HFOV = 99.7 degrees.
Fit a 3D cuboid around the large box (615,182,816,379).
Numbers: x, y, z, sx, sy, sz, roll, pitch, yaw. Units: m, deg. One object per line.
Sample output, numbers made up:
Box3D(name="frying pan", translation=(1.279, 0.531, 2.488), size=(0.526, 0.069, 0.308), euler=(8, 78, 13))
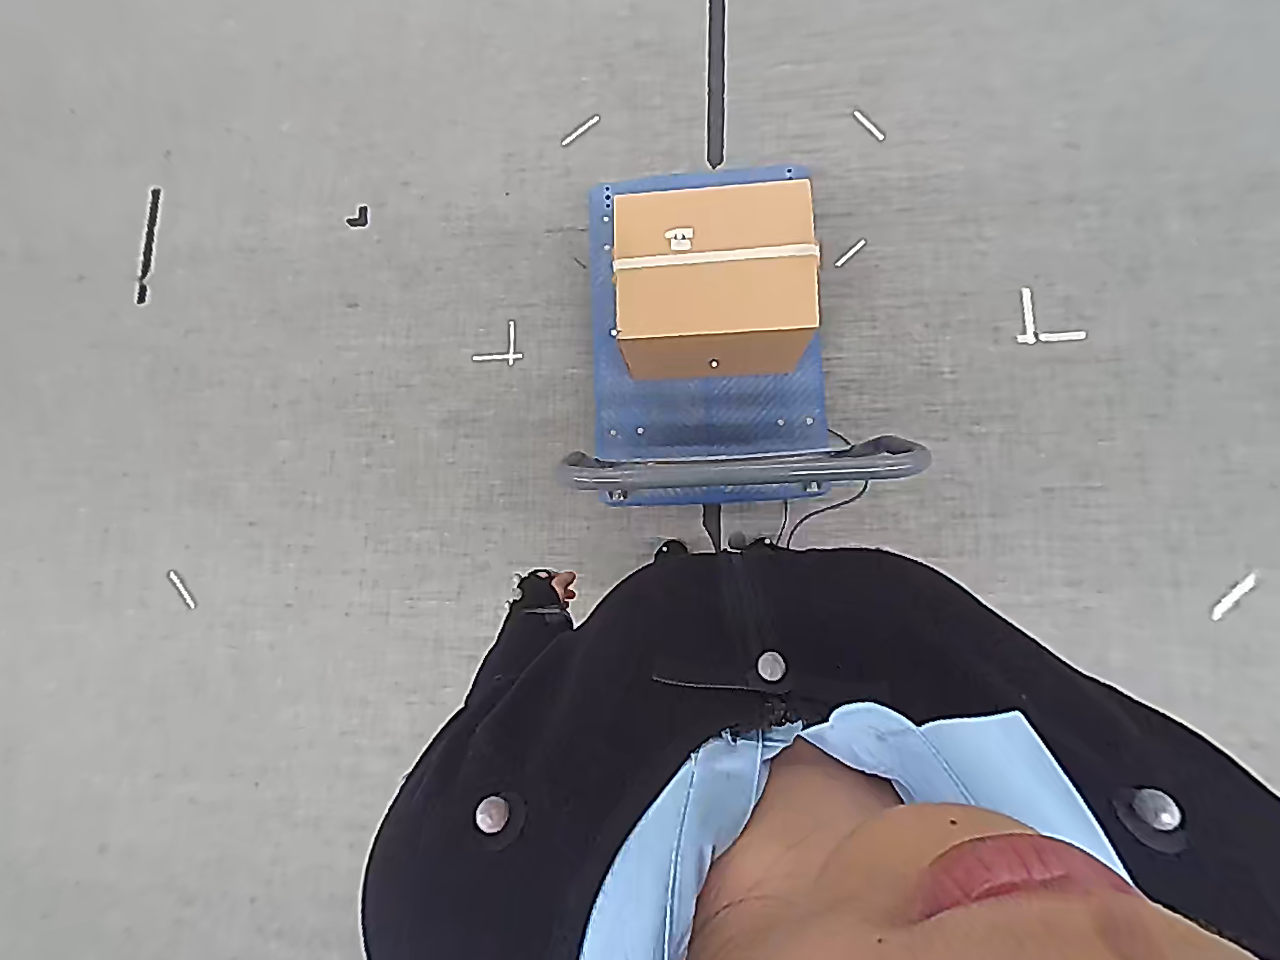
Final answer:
Box3D(name="large box", translation=(0.168, -0.436, 1.262), size=(0.408, 0.320, 0.320), euler=(-3, 83, 6))
